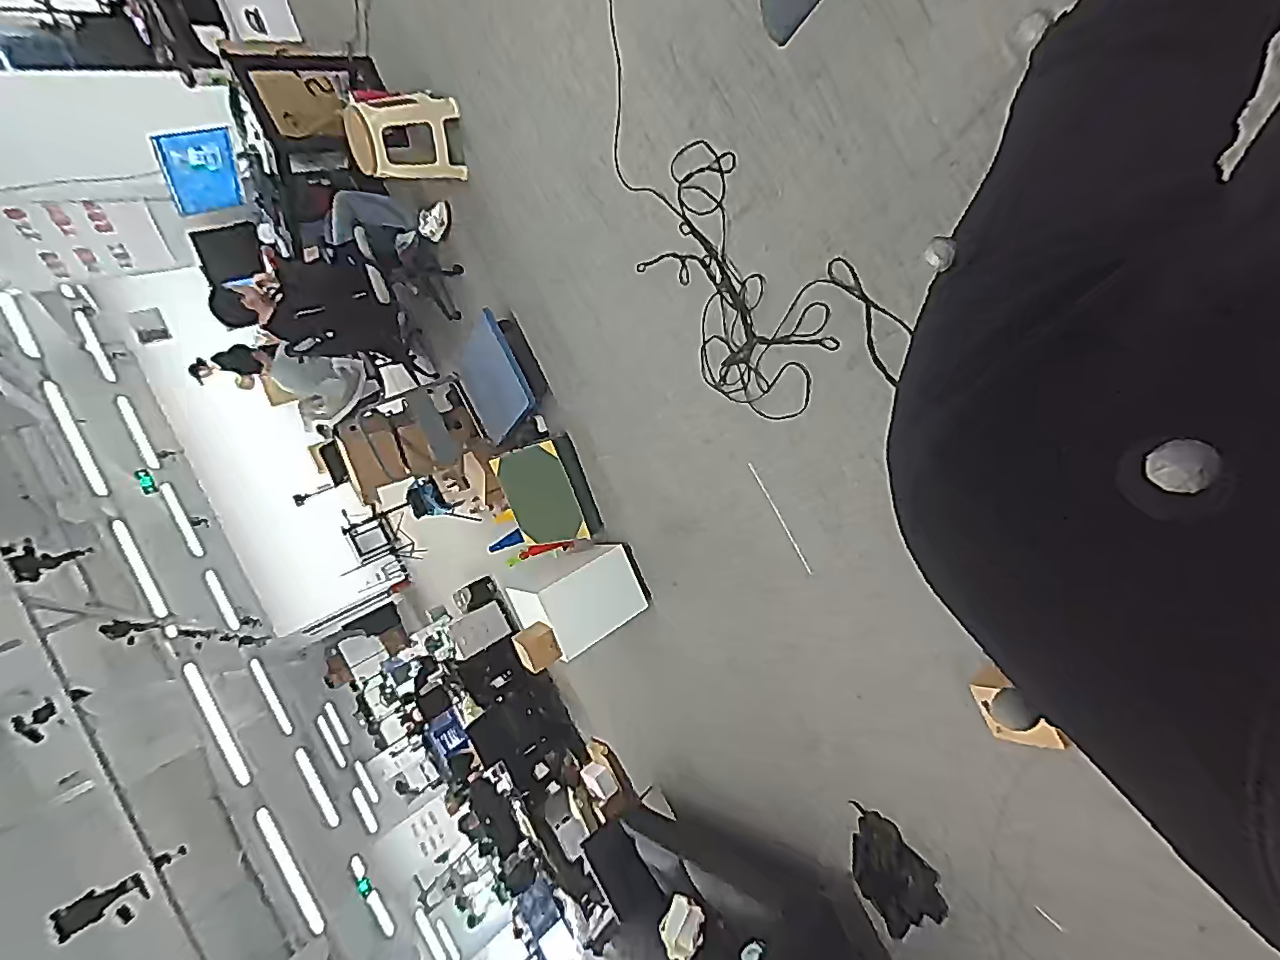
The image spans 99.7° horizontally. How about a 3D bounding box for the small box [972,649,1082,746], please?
[{"bbox_3d":[1.037,0.569,1.440,0.179,0.176,0.168,-24,93,58],"label":"small box"}]
